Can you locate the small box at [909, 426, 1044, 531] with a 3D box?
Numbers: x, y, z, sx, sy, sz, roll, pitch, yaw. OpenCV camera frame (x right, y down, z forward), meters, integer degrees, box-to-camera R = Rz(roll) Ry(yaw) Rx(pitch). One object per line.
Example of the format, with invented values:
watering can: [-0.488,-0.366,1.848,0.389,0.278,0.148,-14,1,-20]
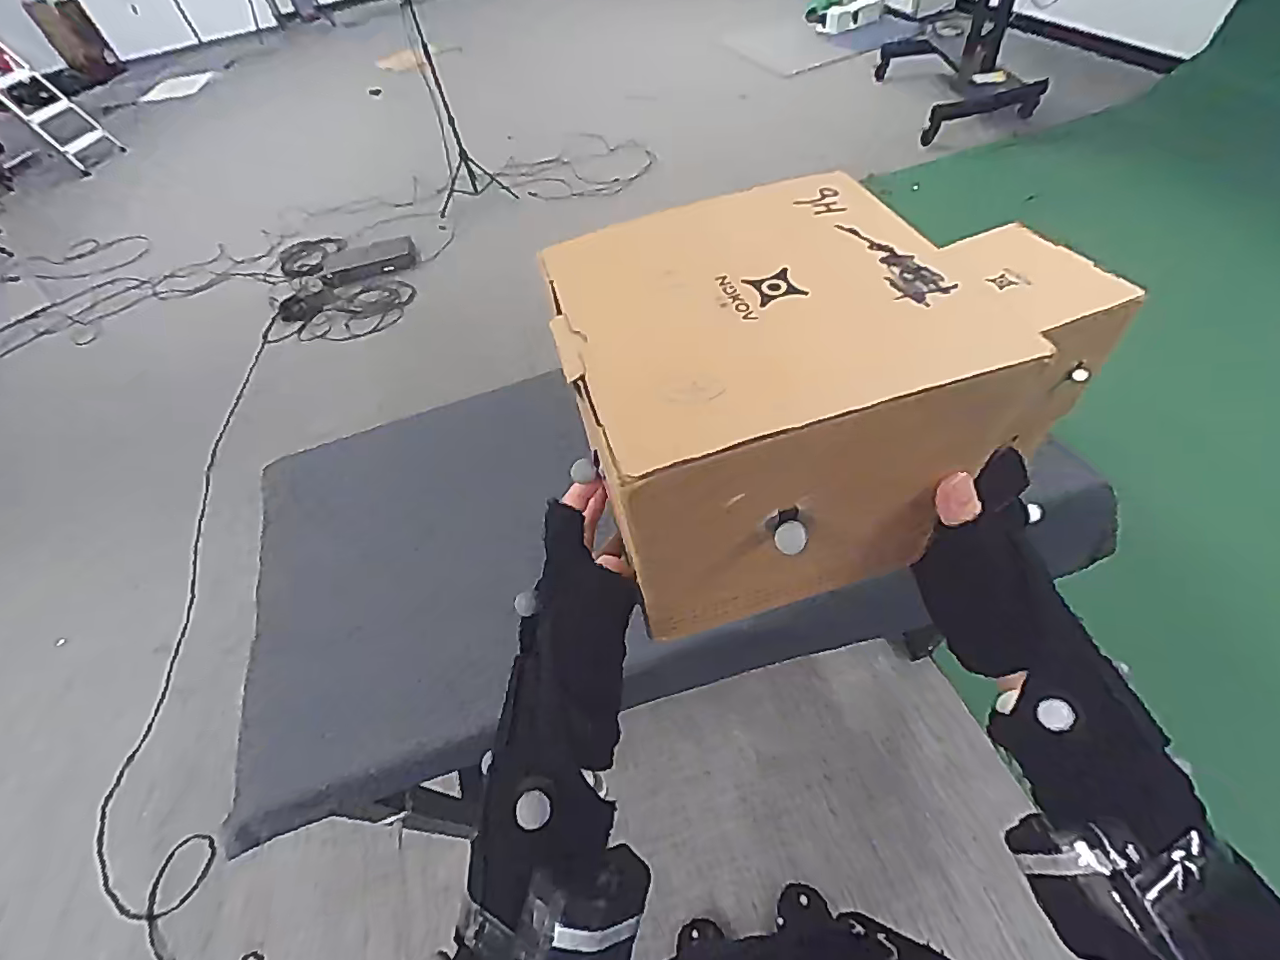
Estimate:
small box: [0.400,-0.051,0.757,0.168,0.176,0.179,-22,51,-8]

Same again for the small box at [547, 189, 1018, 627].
small box: [0.061,-0.035,0.321,0.179,0.176,0.168,-17,53,-5]

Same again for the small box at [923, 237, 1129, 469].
small box: [0.381,-0.142,0.625,0.179,0.176,0.168,-22,50,-6]
